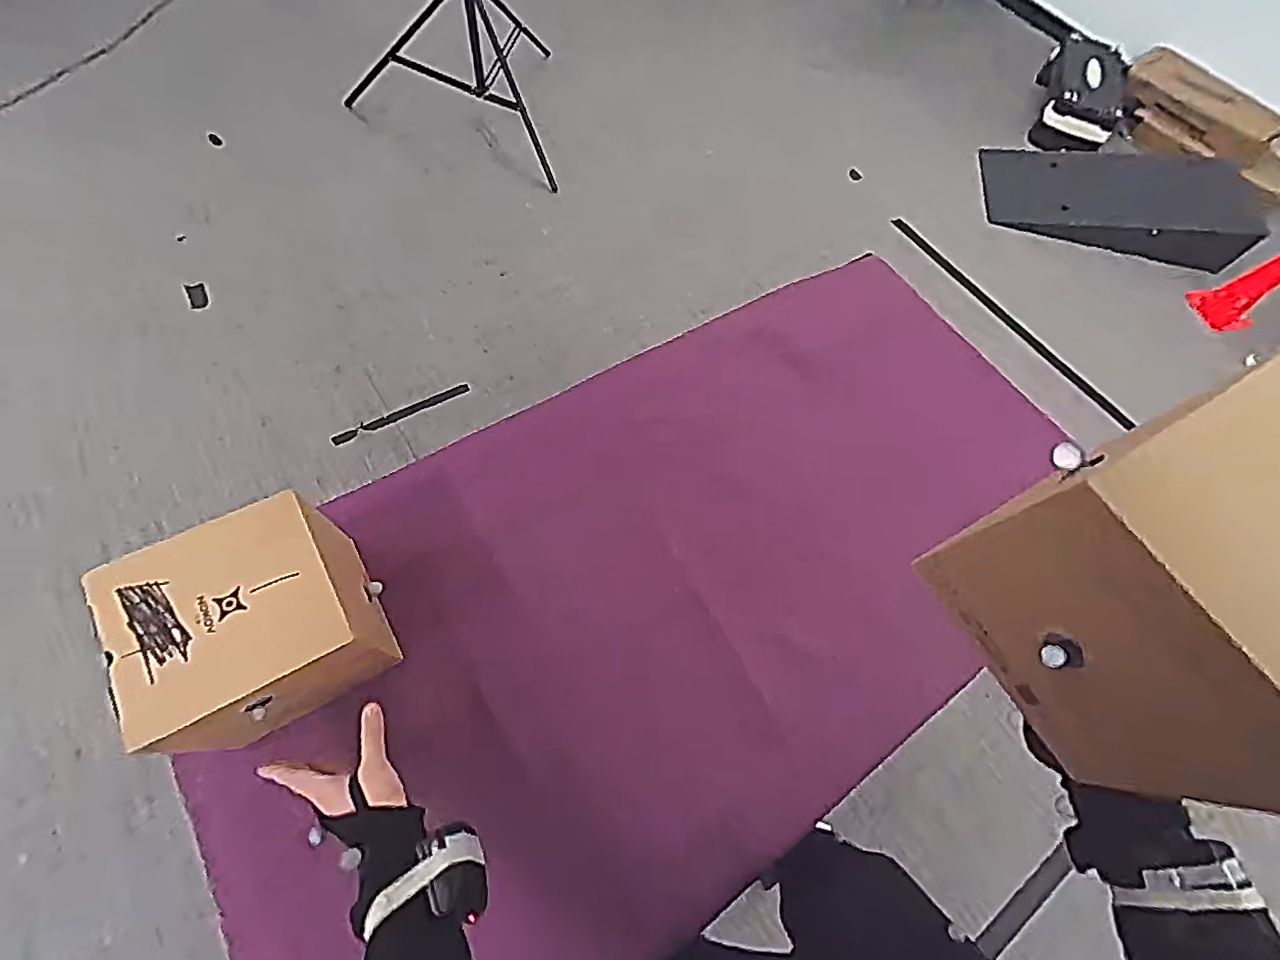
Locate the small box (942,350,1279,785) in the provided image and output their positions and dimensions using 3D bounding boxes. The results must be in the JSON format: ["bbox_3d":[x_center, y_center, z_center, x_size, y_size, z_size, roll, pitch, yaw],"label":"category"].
[{"bbox_3d":[0.319,0.058,0.320,0.179,0.176,0.168,-27,71,-13],"label":"small box"}]

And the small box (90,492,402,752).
[{"bbox_3d":[-0.370,0.145,0.539,0.179,0.176,0.168,-27,73,-19],"label":"small box"}]
